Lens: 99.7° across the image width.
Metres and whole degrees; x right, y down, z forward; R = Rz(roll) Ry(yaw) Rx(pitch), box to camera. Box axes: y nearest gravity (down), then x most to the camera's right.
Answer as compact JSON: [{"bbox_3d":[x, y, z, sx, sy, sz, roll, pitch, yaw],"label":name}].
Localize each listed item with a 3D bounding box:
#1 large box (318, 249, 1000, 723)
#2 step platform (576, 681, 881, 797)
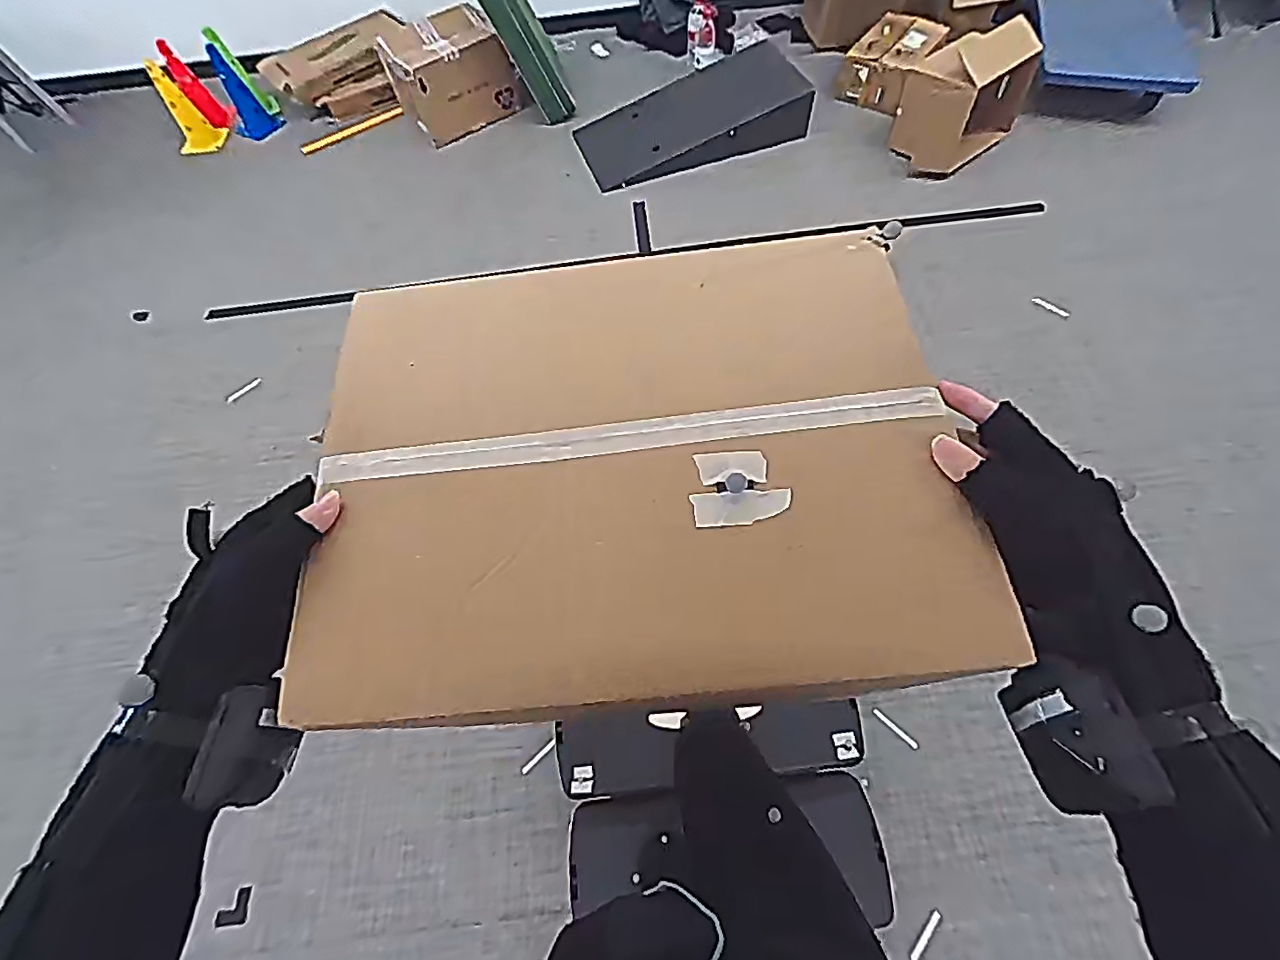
[{"bbox_3d":[0.005,0.040,0.504,0.408,0.320,0.320,-6,66,3],"label":"large box"},{"bbox_3d":[0.192,0.546,1.275,0.684,0.204,0.286,-7,62,-1],"label":"step platform"}]
